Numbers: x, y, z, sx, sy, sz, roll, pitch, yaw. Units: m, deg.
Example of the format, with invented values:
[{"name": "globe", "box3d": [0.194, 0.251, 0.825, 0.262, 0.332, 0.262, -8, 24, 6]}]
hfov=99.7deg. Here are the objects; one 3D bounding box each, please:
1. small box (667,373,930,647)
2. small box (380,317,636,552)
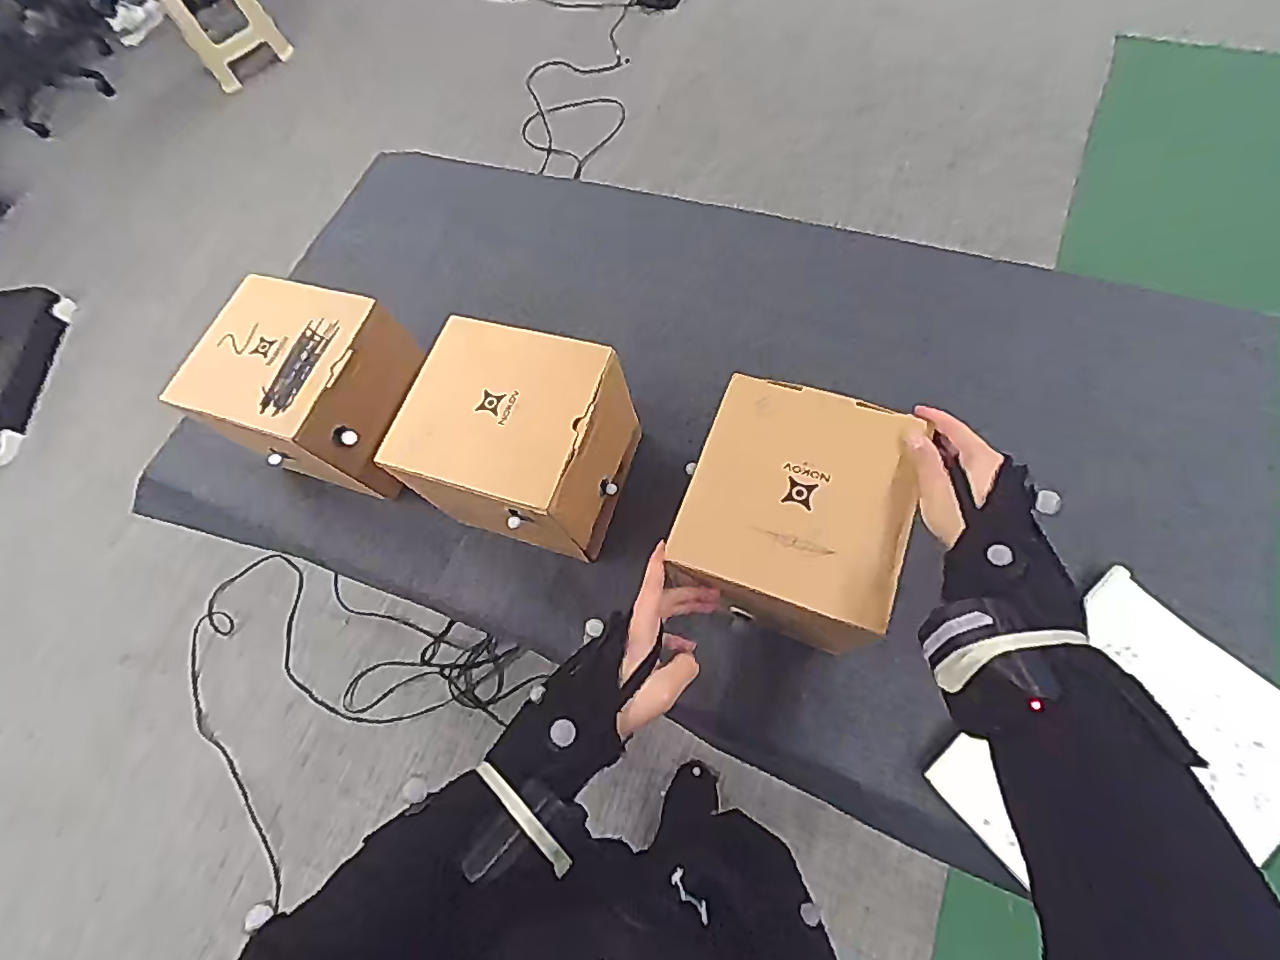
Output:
[{"name": "small box", "box3d": [0.135, 0.036, 0.493, 0.168, 0.176, 0.179, 17, 72, 16]}, {"name": "small box", "box3d": [-0.117, -0.038, 0.560, 0.179, 0.176, 0.168, 15, 70, 13]}]
